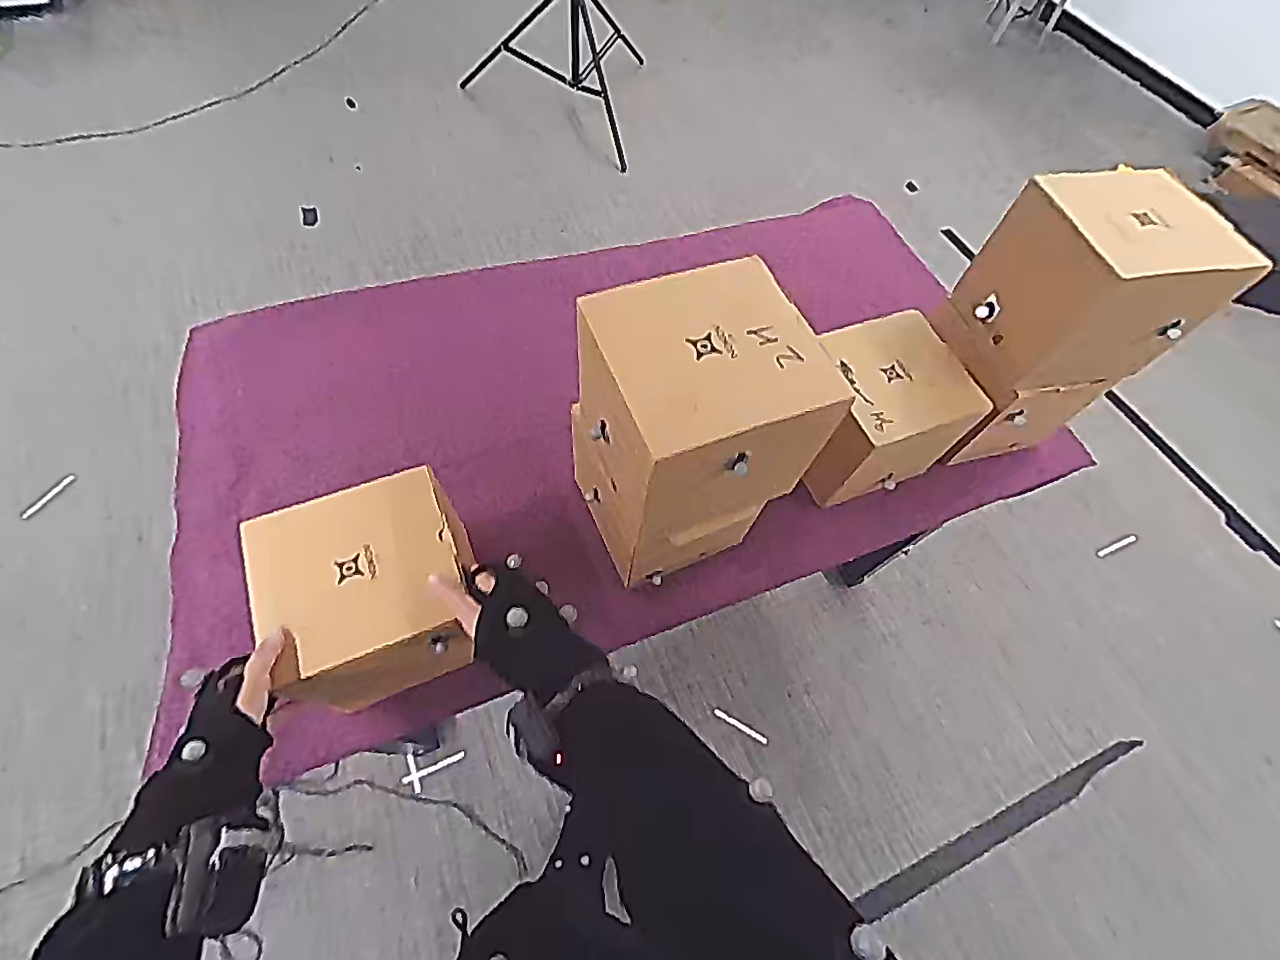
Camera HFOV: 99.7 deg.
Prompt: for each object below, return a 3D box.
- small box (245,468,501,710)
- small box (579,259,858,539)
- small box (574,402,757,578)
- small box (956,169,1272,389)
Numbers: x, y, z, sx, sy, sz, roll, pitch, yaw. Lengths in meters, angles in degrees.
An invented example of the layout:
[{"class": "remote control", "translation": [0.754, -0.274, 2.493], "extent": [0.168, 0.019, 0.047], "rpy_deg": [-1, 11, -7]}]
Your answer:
[{"class": "small box", "translation": [-0.260, 0.119, 0.557], "extent": [0.179, 0.176, 0.168], "rpy_deg": [-20, 65, -16]}, {"class": "small box", "translation": [0.054, -0.066, 0.496], "extent": [0.179, 0.176, 0.168], "rpy_deg": [-18, 66, -15]}, {"class": "small box", "translation": [0.031, 0.001, 0.645], "extent": [0.168, 0.176, 0.179], "rpy_deg": [-20, 65, -15]}, {"class": "small box", "translation": [0.516, -0.224, 0.622], "extent": [0.179, 0.176, 0.168], "rpy_deg": [-8, 61, -8]}]
